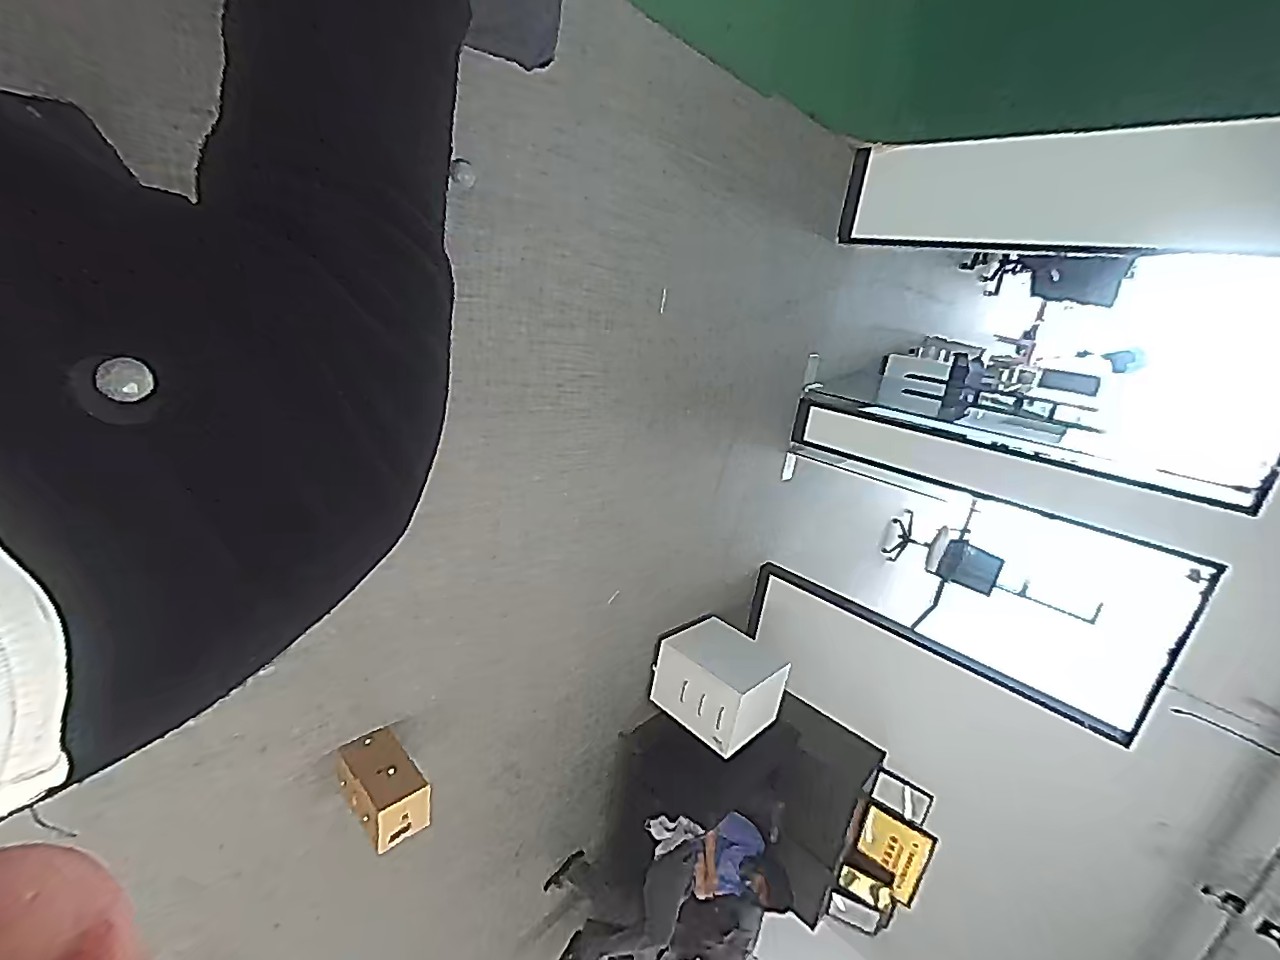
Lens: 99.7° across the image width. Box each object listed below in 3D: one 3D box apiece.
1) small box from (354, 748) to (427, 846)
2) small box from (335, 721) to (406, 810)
[{"bbox_3d":[-0.812,1.022,1.757,0.168,0.176,0.179,-12,117,-47],"label":"small box"},{"bbox_3d":[-0.932,0.975,1.861,0.179,0.176,0.168,-10,117,-47],"label":"small box"}]
